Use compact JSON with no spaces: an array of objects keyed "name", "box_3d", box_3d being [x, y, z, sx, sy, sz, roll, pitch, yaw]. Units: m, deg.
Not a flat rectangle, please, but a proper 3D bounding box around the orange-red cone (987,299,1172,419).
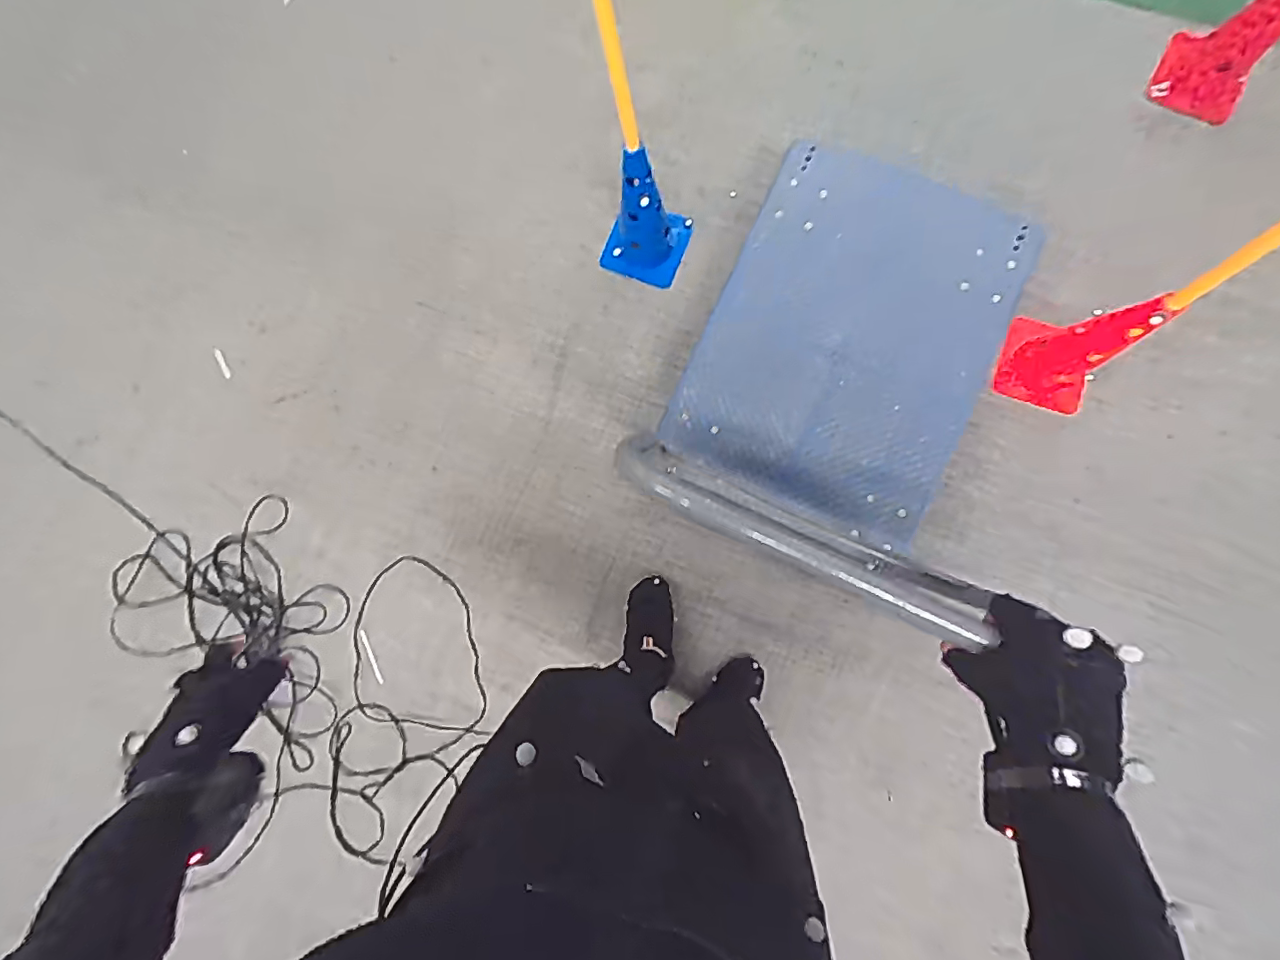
[{"name":"orange-red cone","box_3d":[0.938,-0.282,1.131,0.199,0.360,0.198,21,85,8]}]
